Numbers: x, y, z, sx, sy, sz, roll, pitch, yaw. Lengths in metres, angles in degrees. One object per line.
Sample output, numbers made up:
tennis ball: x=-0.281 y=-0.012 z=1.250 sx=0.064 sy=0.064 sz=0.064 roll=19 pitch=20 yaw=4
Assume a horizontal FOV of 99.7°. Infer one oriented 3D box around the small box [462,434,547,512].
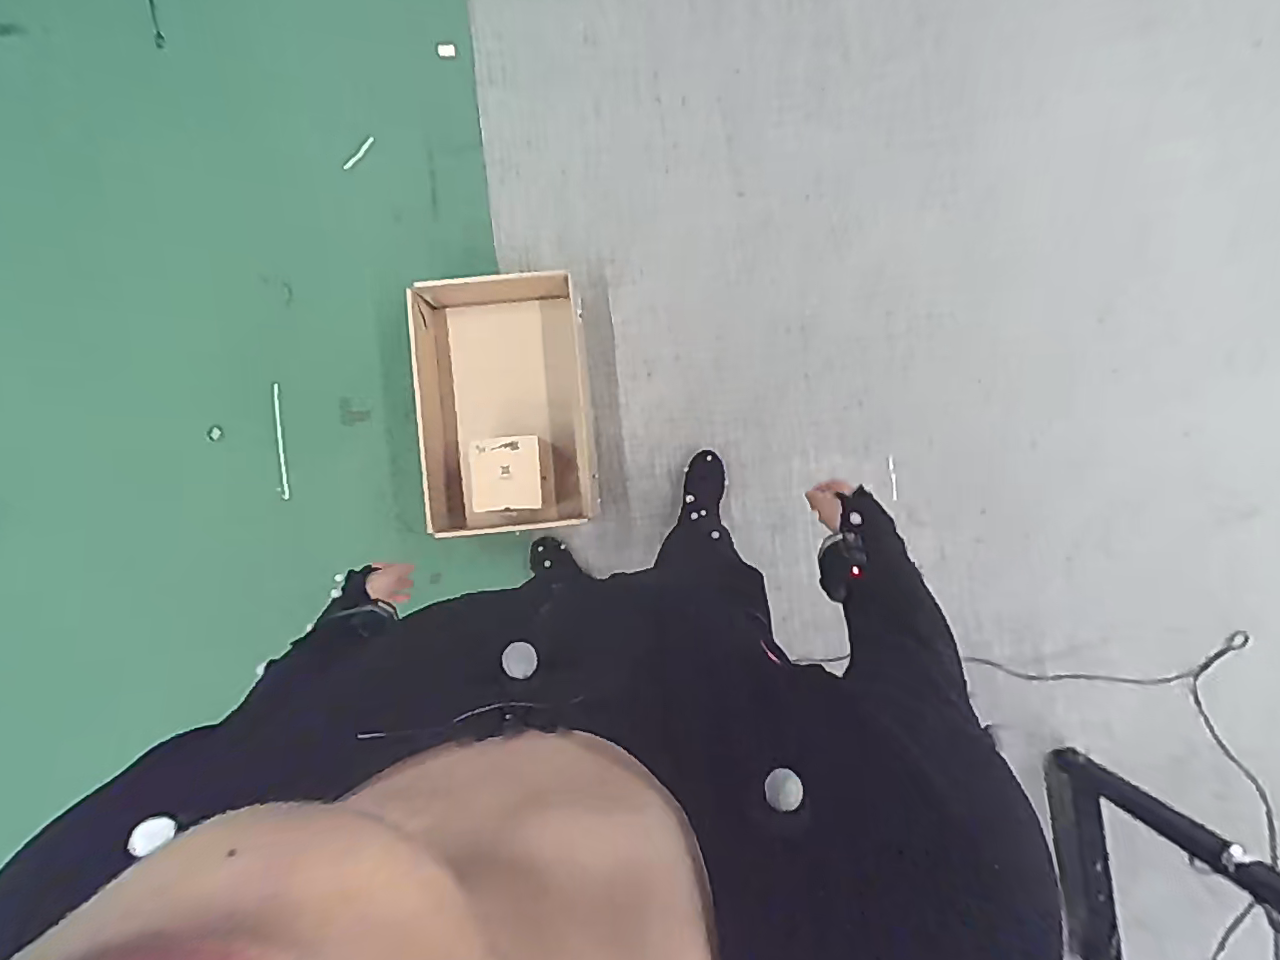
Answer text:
small box: x=-0.326 y=-0.017 z=1.328 sx=0.168 sy=0.176 sz=0.179 roll=-4 pitch=89 yaw=-2
